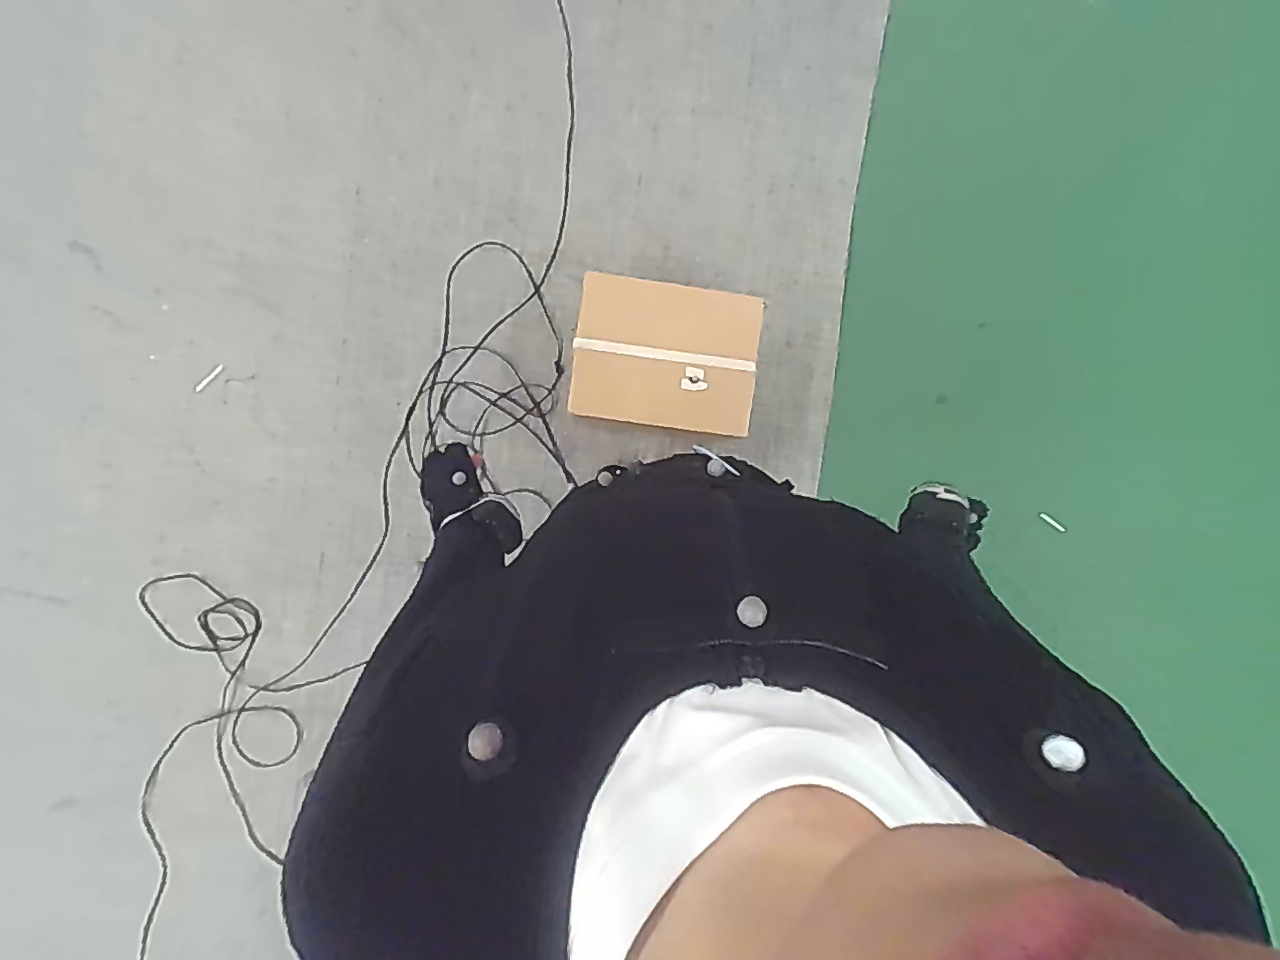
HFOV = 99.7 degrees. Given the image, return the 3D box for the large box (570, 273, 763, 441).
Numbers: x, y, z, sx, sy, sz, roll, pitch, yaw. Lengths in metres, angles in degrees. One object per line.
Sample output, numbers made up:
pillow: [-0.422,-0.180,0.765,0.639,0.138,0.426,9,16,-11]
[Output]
large box: [0.049,-0.278,1.333,0.408,0.320,0.320,8,91,-4]
